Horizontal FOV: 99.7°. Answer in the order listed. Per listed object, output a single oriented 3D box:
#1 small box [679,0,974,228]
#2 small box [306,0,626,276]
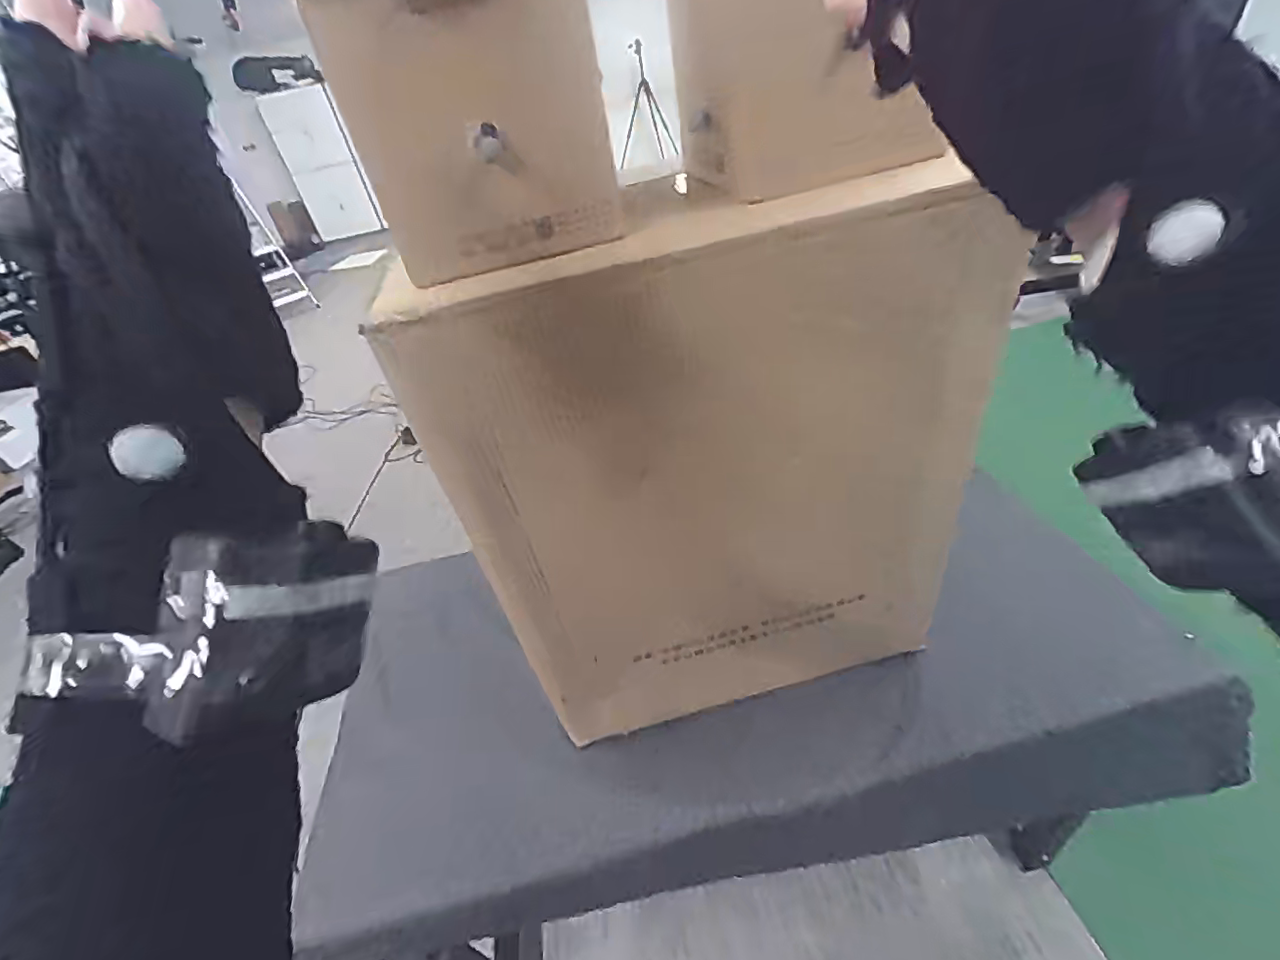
[{"bbox_3d":[0.141,-0.333,0.455,0.179,0.176,0.168,-16,39,-7],"label":"small box"},{"bbox_3d":[-0.116,-0.274,0.420,0.168,0.176,0.179,-15,41,-5],"label":"small box"}]
